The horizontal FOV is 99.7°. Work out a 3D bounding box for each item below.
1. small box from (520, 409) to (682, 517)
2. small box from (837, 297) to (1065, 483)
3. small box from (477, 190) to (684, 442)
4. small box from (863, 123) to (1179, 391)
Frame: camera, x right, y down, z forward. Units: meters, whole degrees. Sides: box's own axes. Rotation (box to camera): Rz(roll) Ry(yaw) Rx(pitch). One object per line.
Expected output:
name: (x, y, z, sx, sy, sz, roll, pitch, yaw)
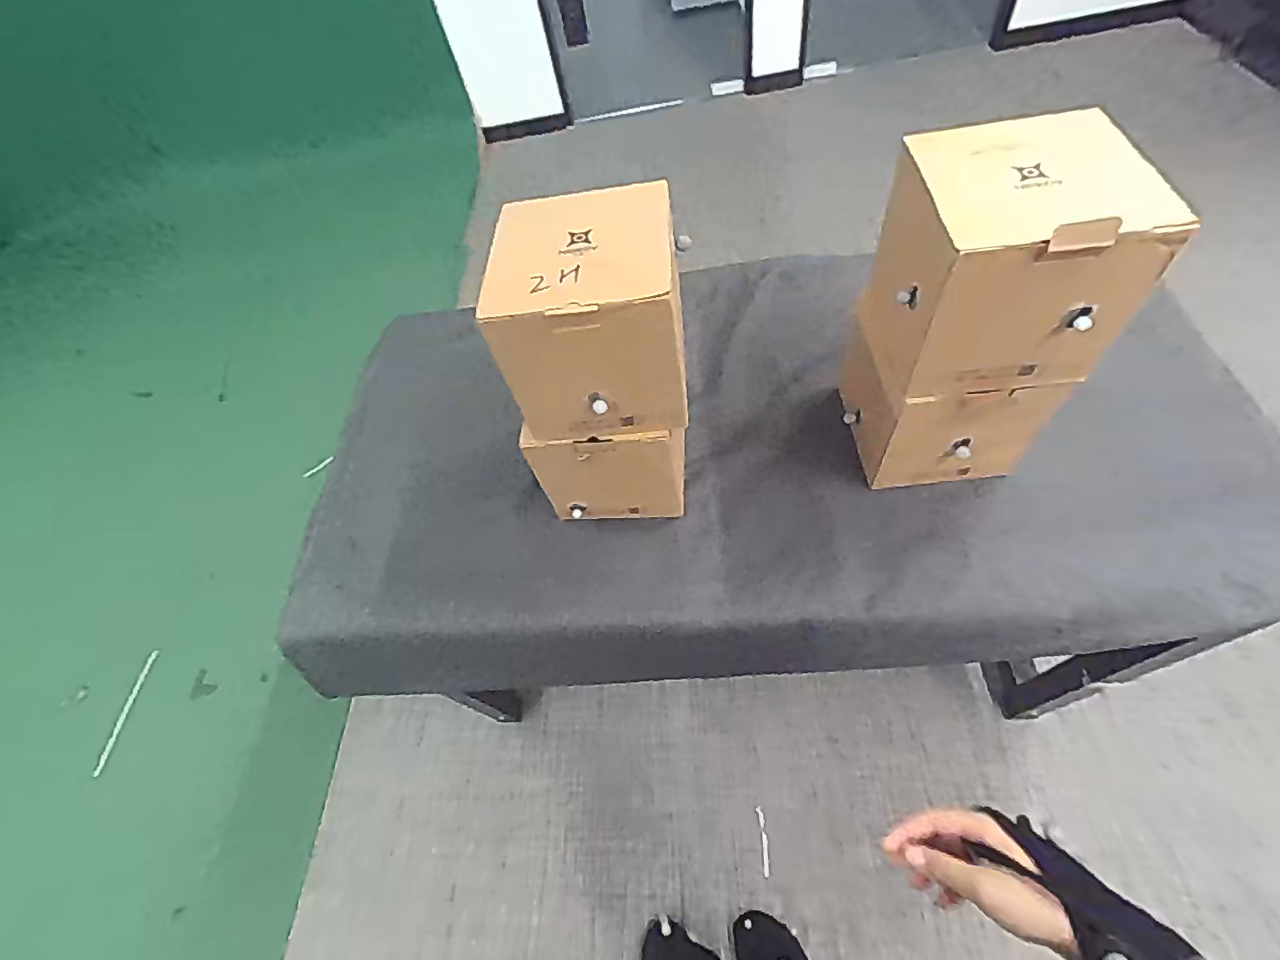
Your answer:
small box: (-0.035, -0.063, 0.689, 0.168, 0.176, 0.179, -2, 55, 9)
small box: (0.347, -0.108, 0.647, 0.168, 0.176, 0.179, -6, 56, 6)
small box: (-0.044, -0.162, 0.556, 0.168, 0.176, 0.179, -5, 56, 8)
small box: (0.326, -0.198, 0.513, 0.168, 0.176, 0.179, -4, 55, 7)
